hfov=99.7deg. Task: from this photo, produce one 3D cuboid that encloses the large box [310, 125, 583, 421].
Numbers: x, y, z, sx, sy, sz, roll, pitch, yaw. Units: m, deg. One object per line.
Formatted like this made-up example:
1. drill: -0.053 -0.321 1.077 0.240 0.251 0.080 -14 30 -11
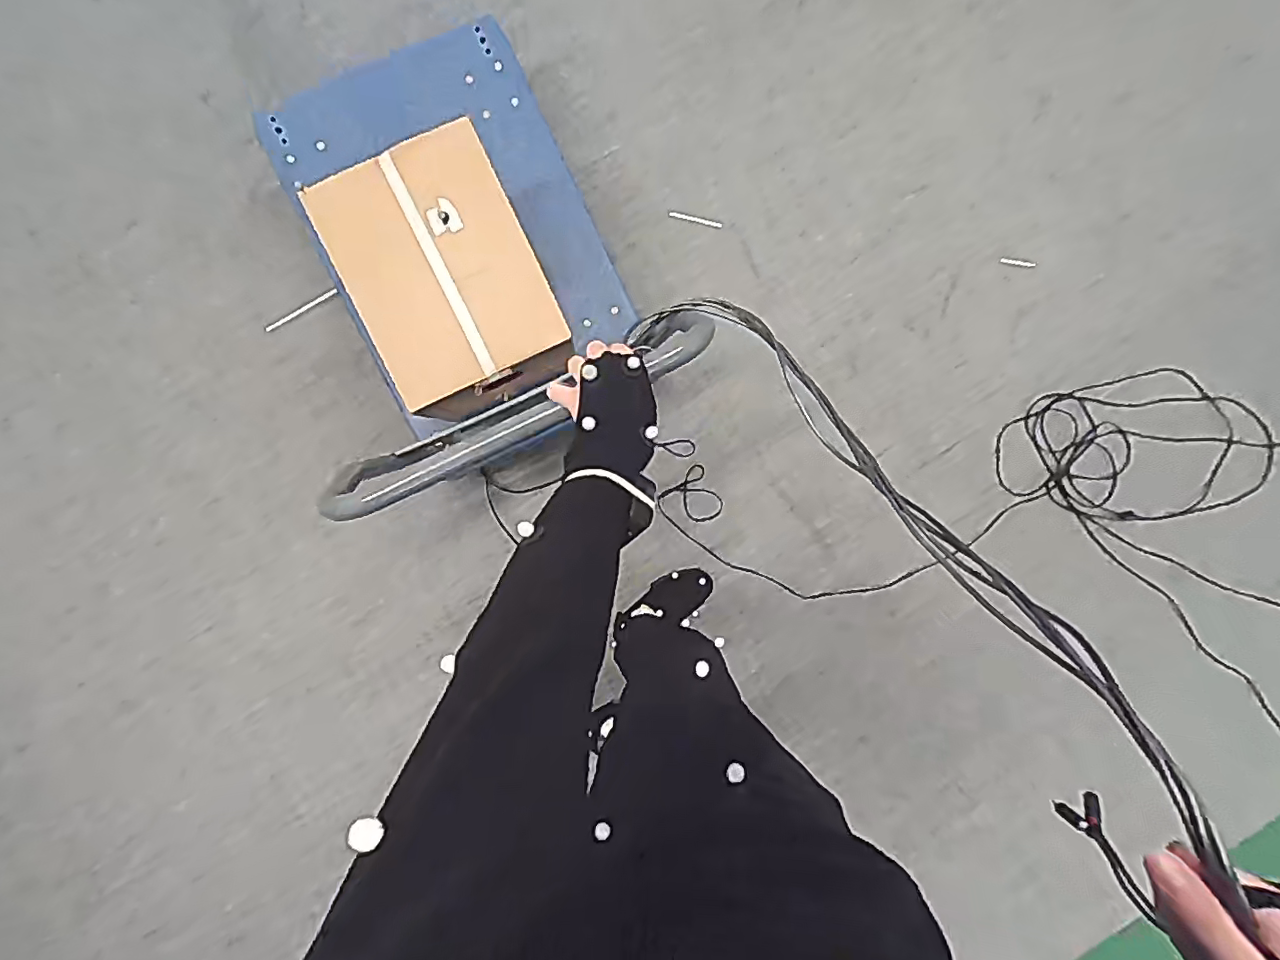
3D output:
1. large box: -0.341 -0.368 1.074 0.320 0.320 0.408 -26 94 -3
